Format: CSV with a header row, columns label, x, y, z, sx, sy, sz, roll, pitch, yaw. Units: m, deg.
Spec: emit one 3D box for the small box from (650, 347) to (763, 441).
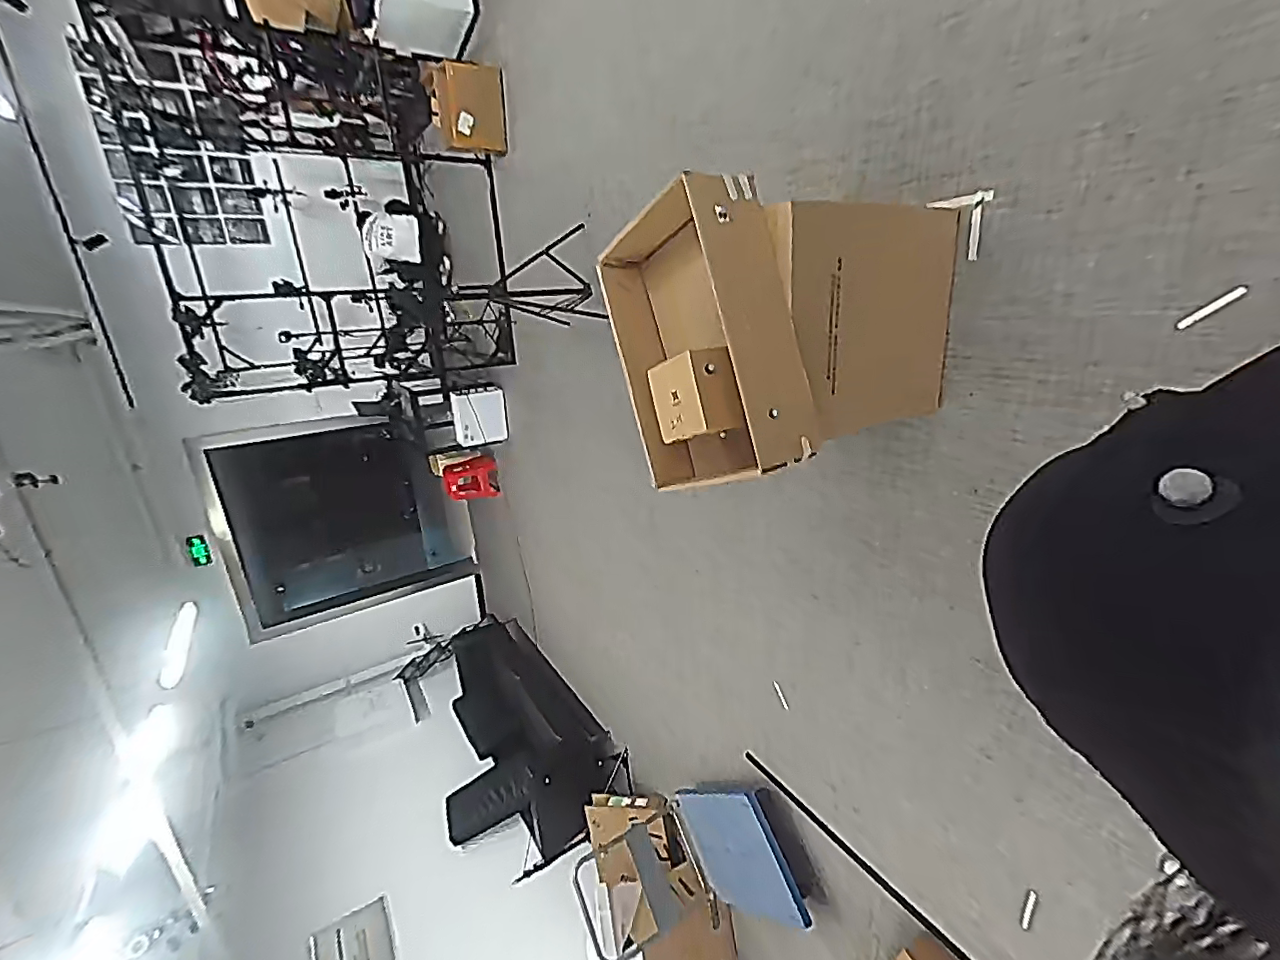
label,x,y,z,sx,sy,sz,roll,pitch,yaw
small box,0.151,-0.196,1.221,0.168,0.176,0.179,-10,93,59
